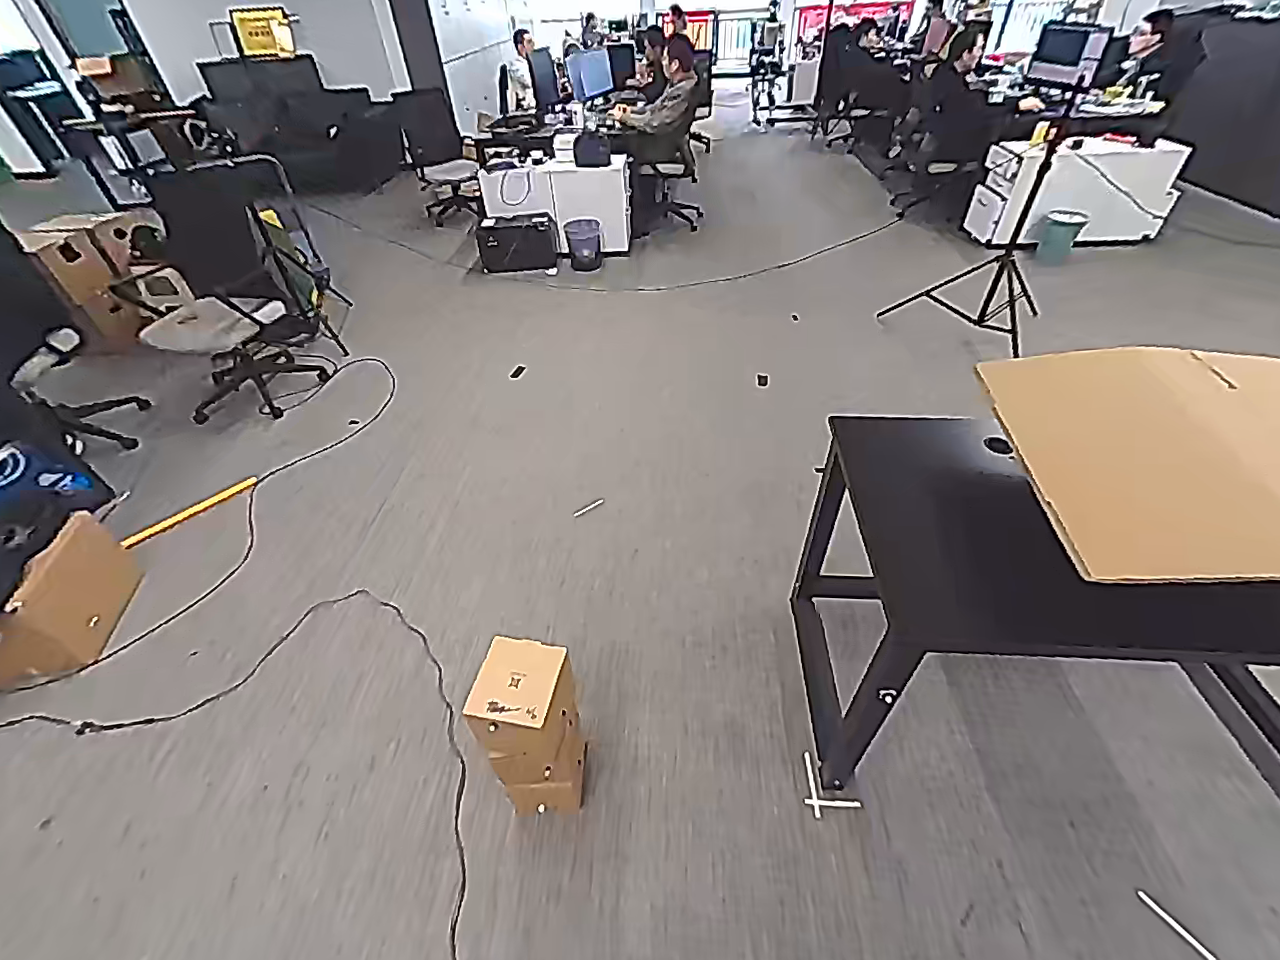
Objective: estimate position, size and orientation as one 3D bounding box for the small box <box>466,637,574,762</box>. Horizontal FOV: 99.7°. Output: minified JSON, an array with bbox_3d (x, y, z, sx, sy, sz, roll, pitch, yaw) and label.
[{"bbox_3d":[-0.245,0.468,1.154,0.168,0.176,0.179,6,42,9],"label":"small box"}]

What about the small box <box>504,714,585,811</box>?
[{"bbox_3d":[-0.232,0.714,1.367,0.168,0.176,0.179,-2,43,2],"label":"small box"}]

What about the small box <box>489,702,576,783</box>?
[{"bbox_3d":[-0.241,0.590,1.264,0.168,0.176,0.179,-3,41,-2],"label":"small box"}]
